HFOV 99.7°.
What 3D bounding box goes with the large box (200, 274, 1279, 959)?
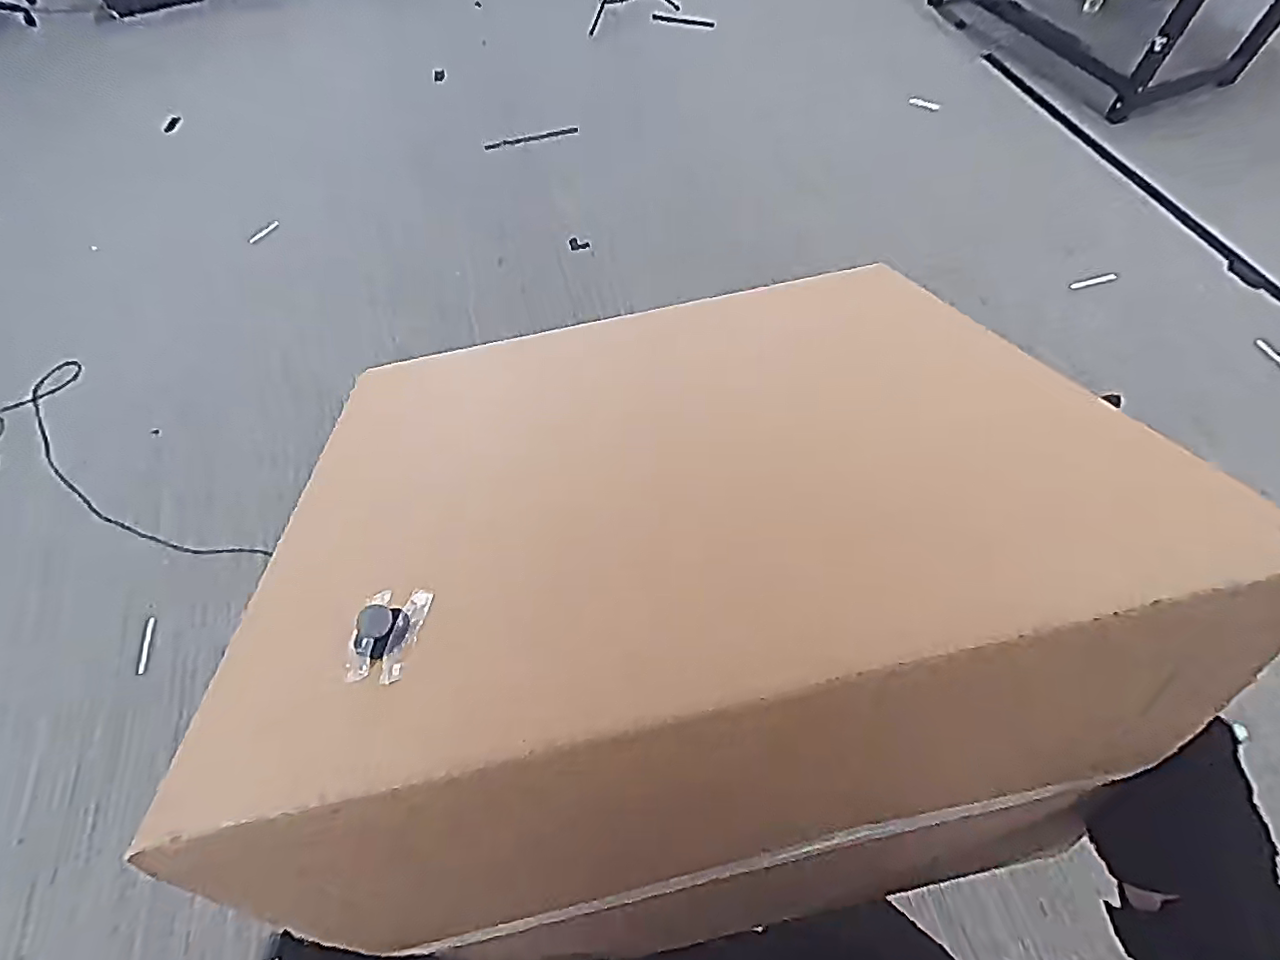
[{"bbox_3d":[0.038,0.085,0.396,0.408,0.320,0.320,-13,40,-1],"label":"large box"}]
